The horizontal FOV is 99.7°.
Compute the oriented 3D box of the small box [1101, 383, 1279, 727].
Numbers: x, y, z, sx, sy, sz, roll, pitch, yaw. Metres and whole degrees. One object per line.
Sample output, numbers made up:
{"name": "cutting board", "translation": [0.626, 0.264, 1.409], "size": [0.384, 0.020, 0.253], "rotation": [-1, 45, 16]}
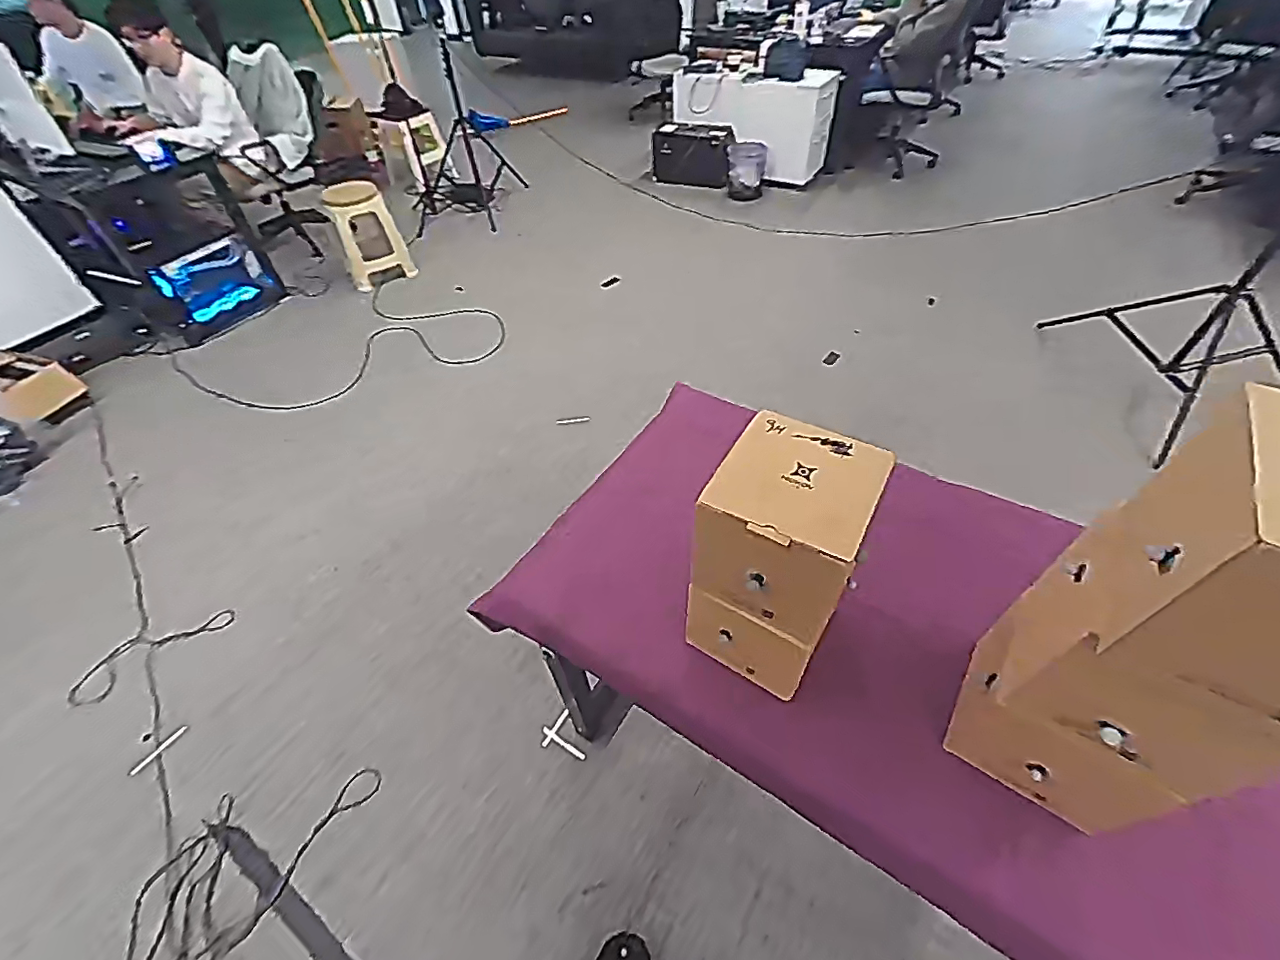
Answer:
{"name": "small box", "translation": [0.481, 0.064, 0.395], "size": [0.168, 0.176, 0.179], "rotation": [24, 53, 22]}

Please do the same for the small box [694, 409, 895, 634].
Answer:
{"name": "small box", "translation": [0.176, 0.051, 0.645], "size": [0.168, 0.176, 0.179], "rotation": [23, 53, 22]}

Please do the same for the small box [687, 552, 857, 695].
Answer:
{"name": "small box", "translation": [0.180, 0.166, 0.762], "size": [0.168, 0.176, 0.179], "rotation": [25, 53, 23]}

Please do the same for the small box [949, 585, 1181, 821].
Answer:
{"name": "small box", "translation": [0.501, 0.269, 0.650], "size": [0.168, 0.176, 0.179], "rotation": [27, 55, 24]}

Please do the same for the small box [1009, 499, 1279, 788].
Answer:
{"name": "small box", "translation": [0.499, 0.158, 0.528], "size": [0.168, 0.176, 0.179], "rotation": [26, 55, 25]}
